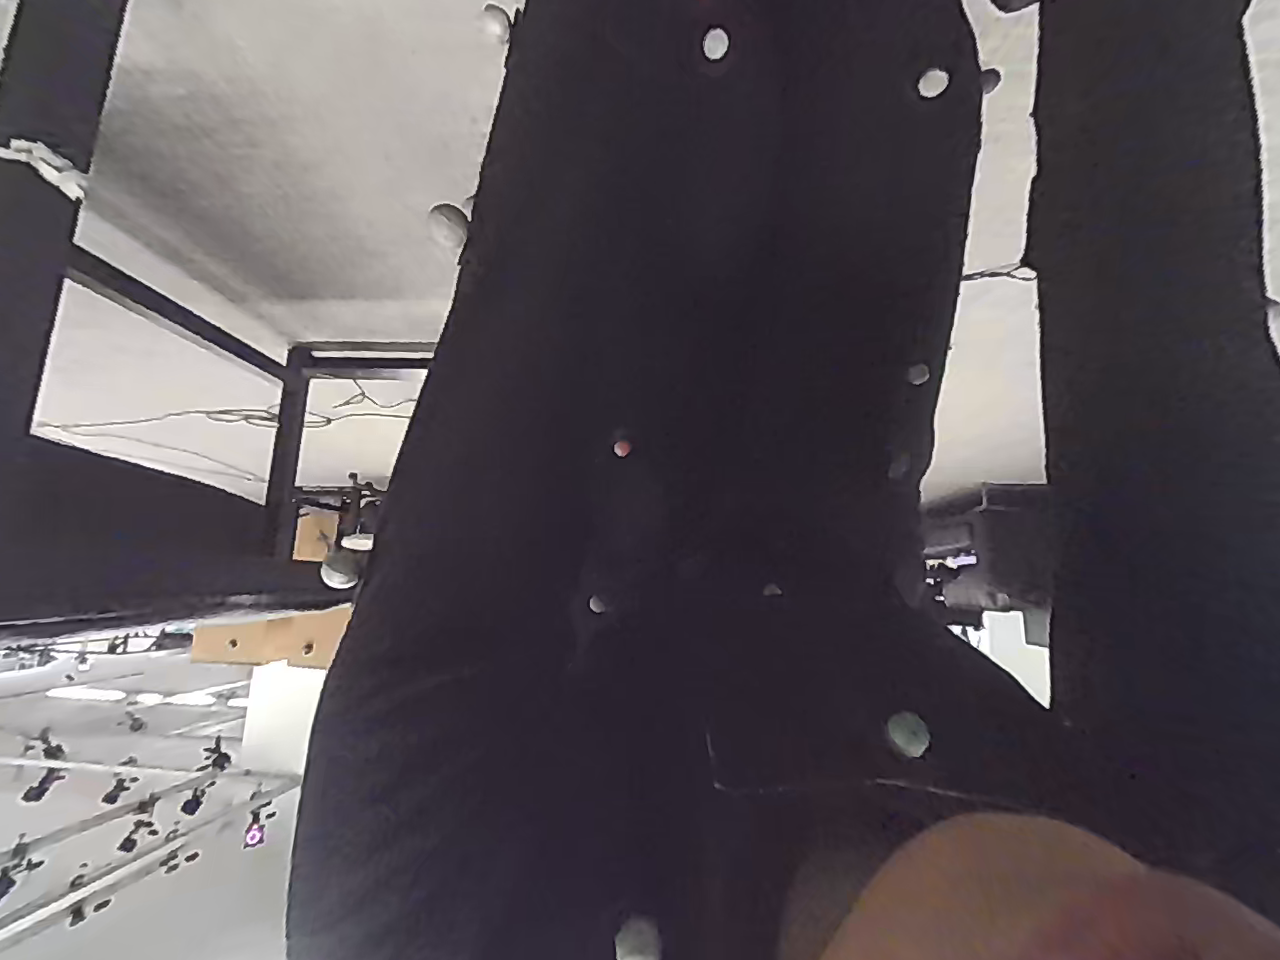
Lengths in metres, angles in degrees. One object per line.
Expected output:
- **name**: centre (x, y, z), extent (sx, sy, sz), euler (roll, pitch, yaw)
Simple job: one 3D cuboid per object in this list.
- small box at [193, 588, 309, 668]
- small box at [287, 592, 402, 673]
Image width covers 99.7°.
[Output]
- **small box**: centre (-0.933, 0.355, 1.318), extent (0.179, 0.176, 0.168), euler (1, 169, 3)
- **small box**: centre (-0.697, 0.358, 1.296), extent (0.179, 0.176, 0.168), euler (2, 170, 2)
